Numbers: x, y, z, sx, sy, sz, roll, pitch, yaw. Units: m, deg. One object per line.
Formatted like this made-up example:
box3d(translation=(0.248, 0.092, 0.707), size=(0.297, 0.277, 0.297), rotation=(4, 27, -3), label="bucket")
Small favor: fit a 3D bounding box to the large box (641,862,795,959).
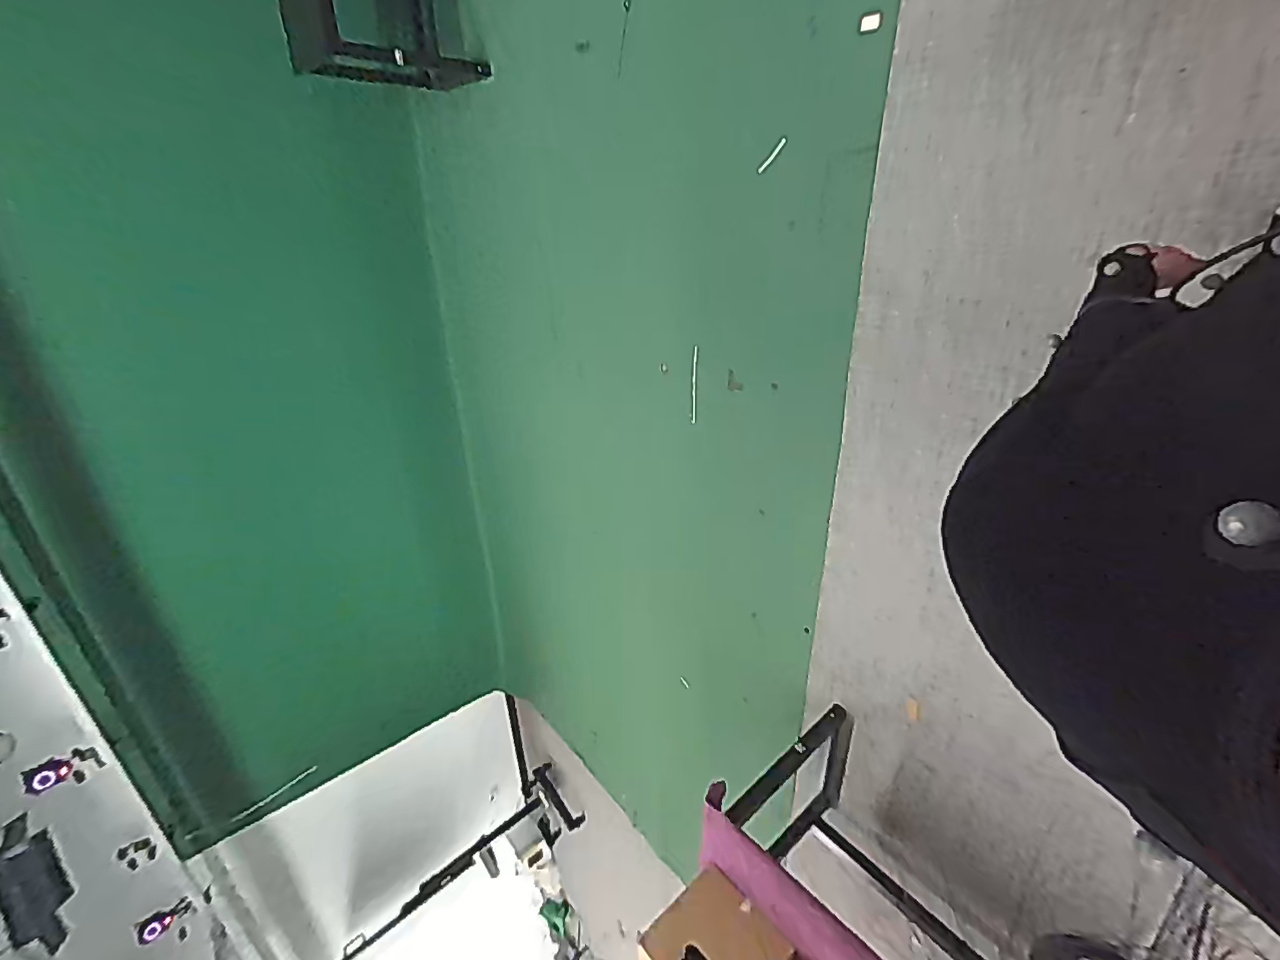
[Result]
box3d(translation=(0.217, 1.437, 1.554), size=(0.320, 0.320, 0.408), rotation=(24, 123, 43), label="large box")
